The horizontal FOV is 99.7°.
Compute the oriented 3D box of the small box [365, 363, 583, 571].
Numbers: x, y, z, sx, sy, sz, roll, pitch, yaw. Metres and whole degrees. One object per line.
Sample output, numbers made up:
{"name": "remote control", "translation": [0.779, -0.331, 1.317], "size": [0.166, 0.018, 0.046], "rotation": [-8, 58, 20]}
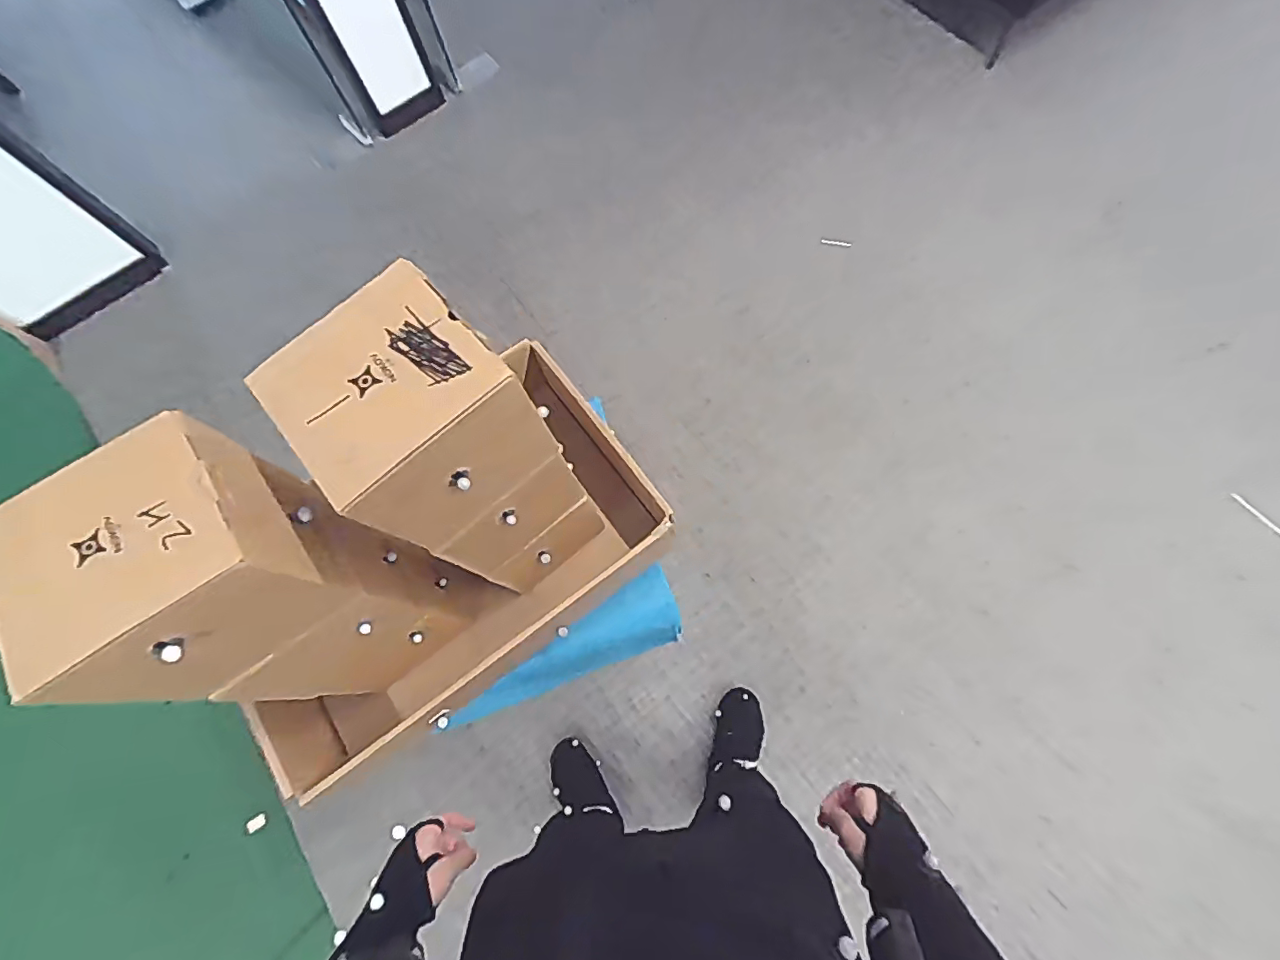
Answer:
{"name": "small box", "translation": [-0.196, -0.005, 0.687], "size": [0.179, 0.176, 0.168], "rotation": [-41, 72, -8]}

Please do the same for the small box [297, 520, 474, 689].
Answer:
{"name": "small box", "translation": [-0.385, 0.194, 0.814], "size": [0.179, 0.176, 0.168], "rotation": [-36, 71, -9]}

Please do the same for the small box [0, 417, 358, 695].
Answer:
{"name": "small box", "translation": [-0.411, 0.080, 0.506], "size": [0.179, 0.176, 0.168], "rotation": [-34, 71, -9]}
